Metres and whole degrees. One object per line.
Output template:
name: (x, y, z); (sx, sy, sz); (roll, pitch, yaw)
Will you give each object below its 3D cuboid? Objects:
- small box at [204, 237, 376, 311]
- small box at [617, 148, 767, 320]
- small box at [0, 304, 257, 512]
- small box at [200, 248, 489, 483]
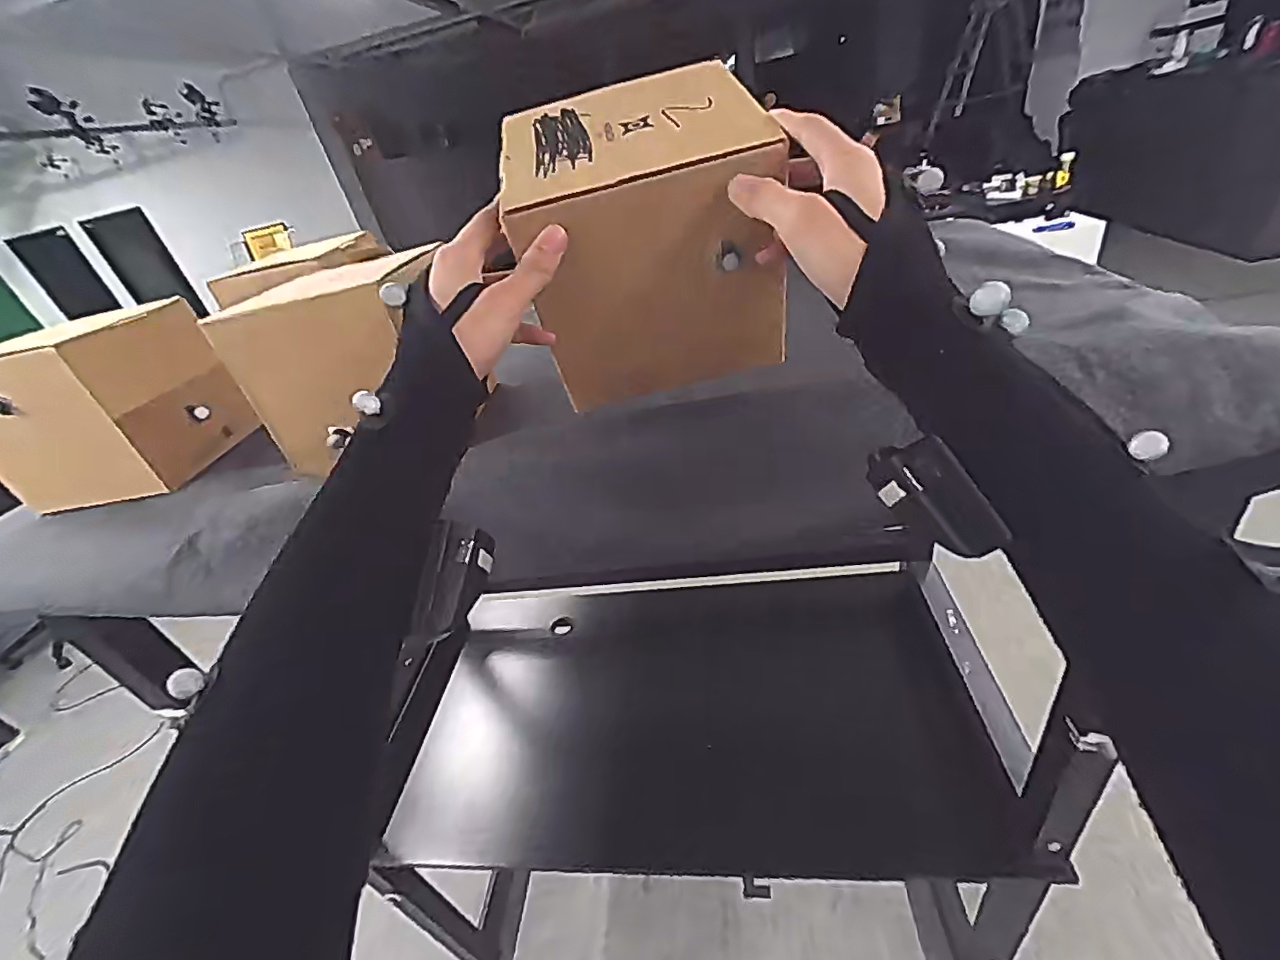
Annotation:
small box: (-0.489, -0.252, 0.828); (0.179, 0.176, 0.168); (-7, 34, 8)
small box: (0.075, -0.329, 0.734); (0.168, 0.176, 0.179); (-8, 34, 10)
small box: (-0.595, -0.079, 0.607); (0.179, 0.176, 0.168); (-9, 33, 7)
small box: (-0.271, -0.119, 0.551); (0.168, 0.176, 0.179); (-10, 32, 7)
